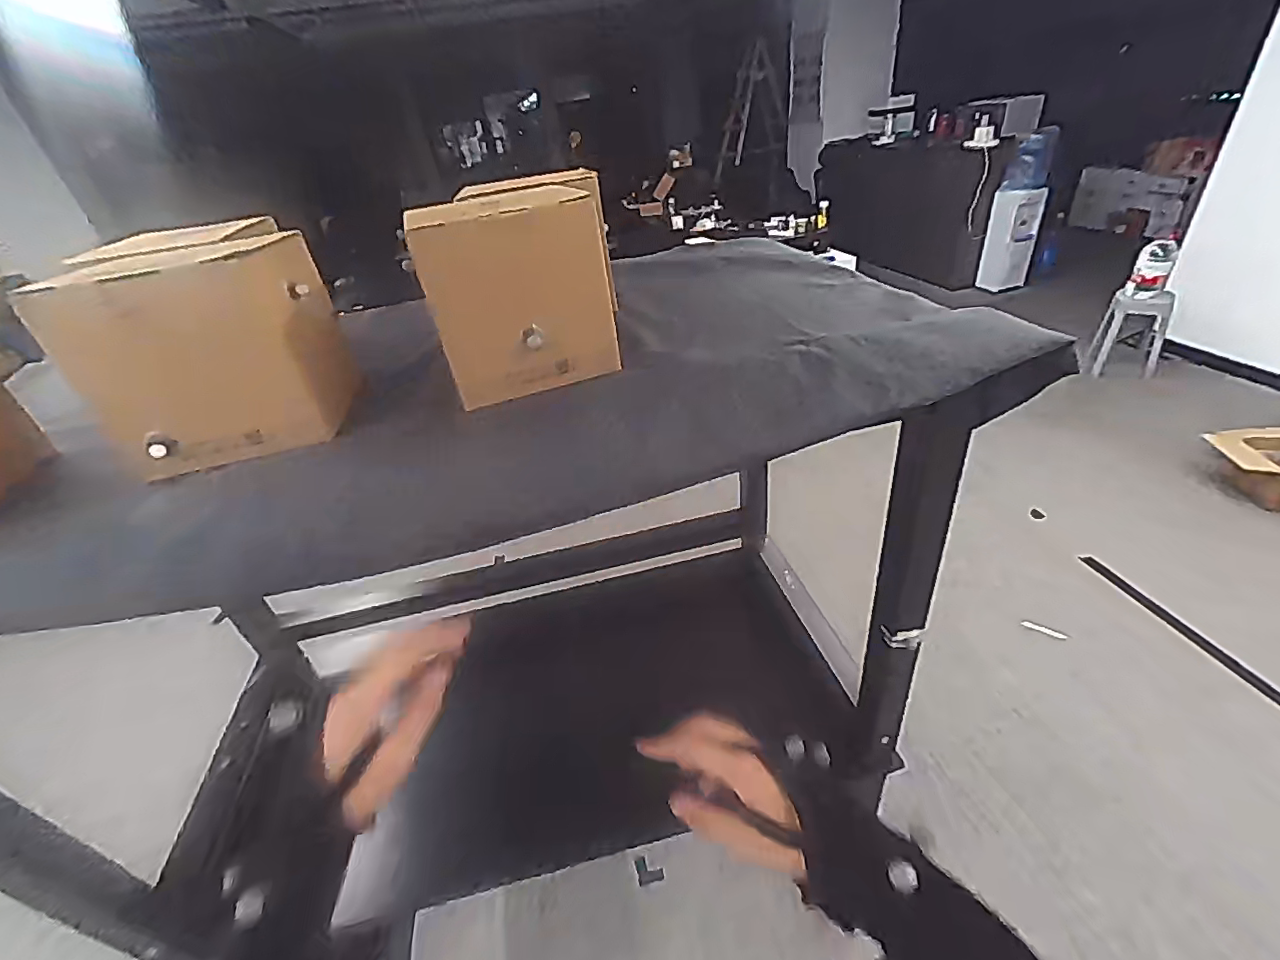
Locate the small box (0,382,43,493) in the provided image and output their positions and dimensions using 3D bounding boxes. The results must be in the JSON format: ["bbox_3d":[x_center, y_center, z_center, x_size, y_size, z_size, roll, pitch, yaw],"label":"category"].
[{"bbox_3d":[-0.677,-0.036,0.446,0.168,0.176,0.179,-14,35,-9],"label":"small box"}]

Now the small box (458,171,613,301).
[{"bbox_3d":[-0.135,-0.319,0.754,0.179,0.176,0.168,-11,33,-5],"label":"small box"}]

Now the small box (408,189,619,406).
[{"bbox_3d":[-0.132,-0.197,0.571,0.168,0.176,0.179,-17,35,-13],"label":"small box"}]
